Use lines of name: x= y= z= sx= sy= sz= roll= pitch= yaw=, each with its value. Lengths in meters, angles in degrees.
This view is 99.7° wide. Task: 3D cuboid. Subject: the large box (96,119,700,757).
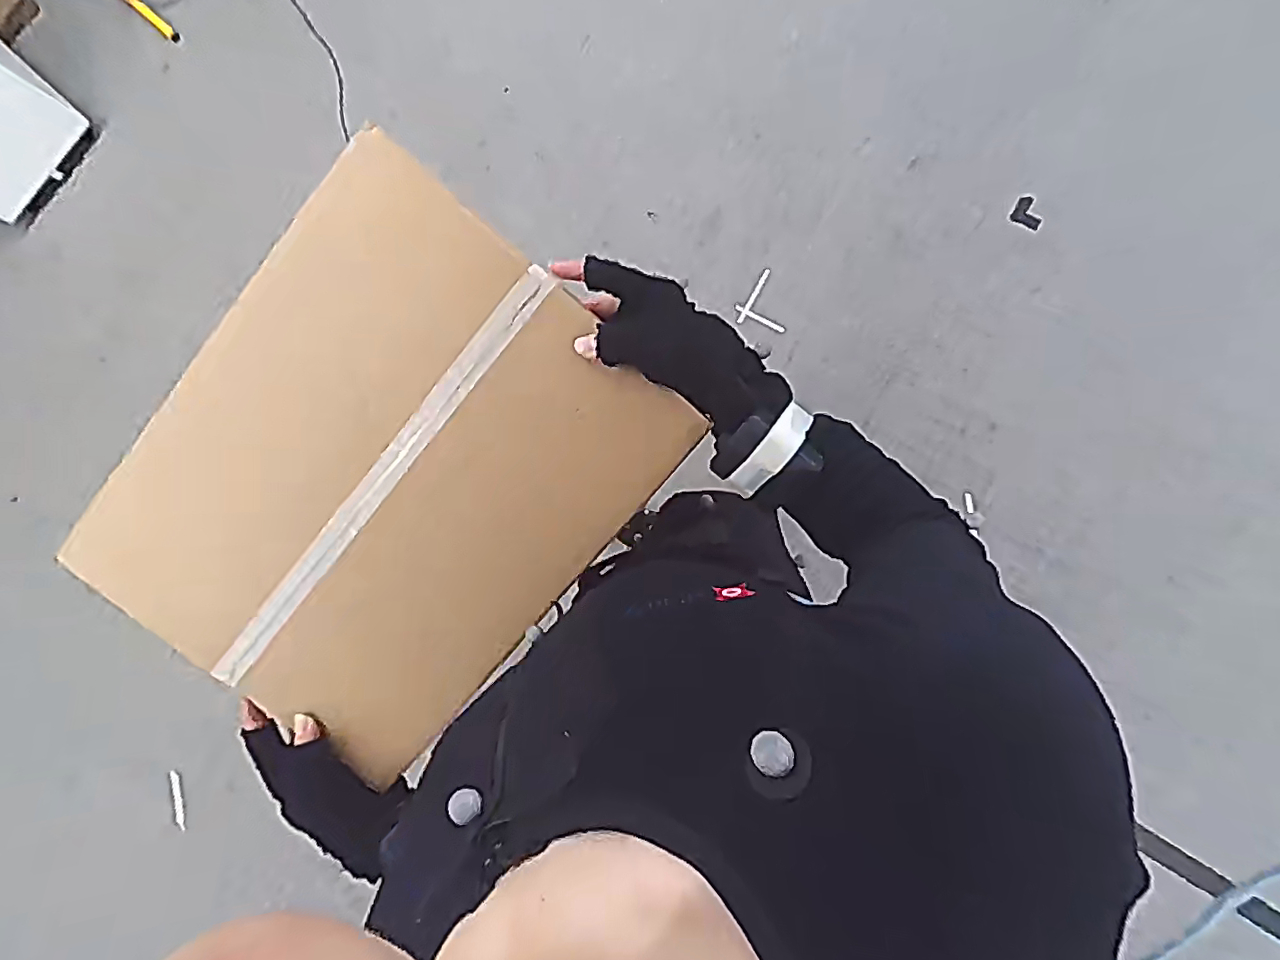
large box: x=-0.191 y=-0.031 z=0.562 sx=0.320 sy=0.320 sz=0.408 roll=41 pitch=98 yaw=-7
